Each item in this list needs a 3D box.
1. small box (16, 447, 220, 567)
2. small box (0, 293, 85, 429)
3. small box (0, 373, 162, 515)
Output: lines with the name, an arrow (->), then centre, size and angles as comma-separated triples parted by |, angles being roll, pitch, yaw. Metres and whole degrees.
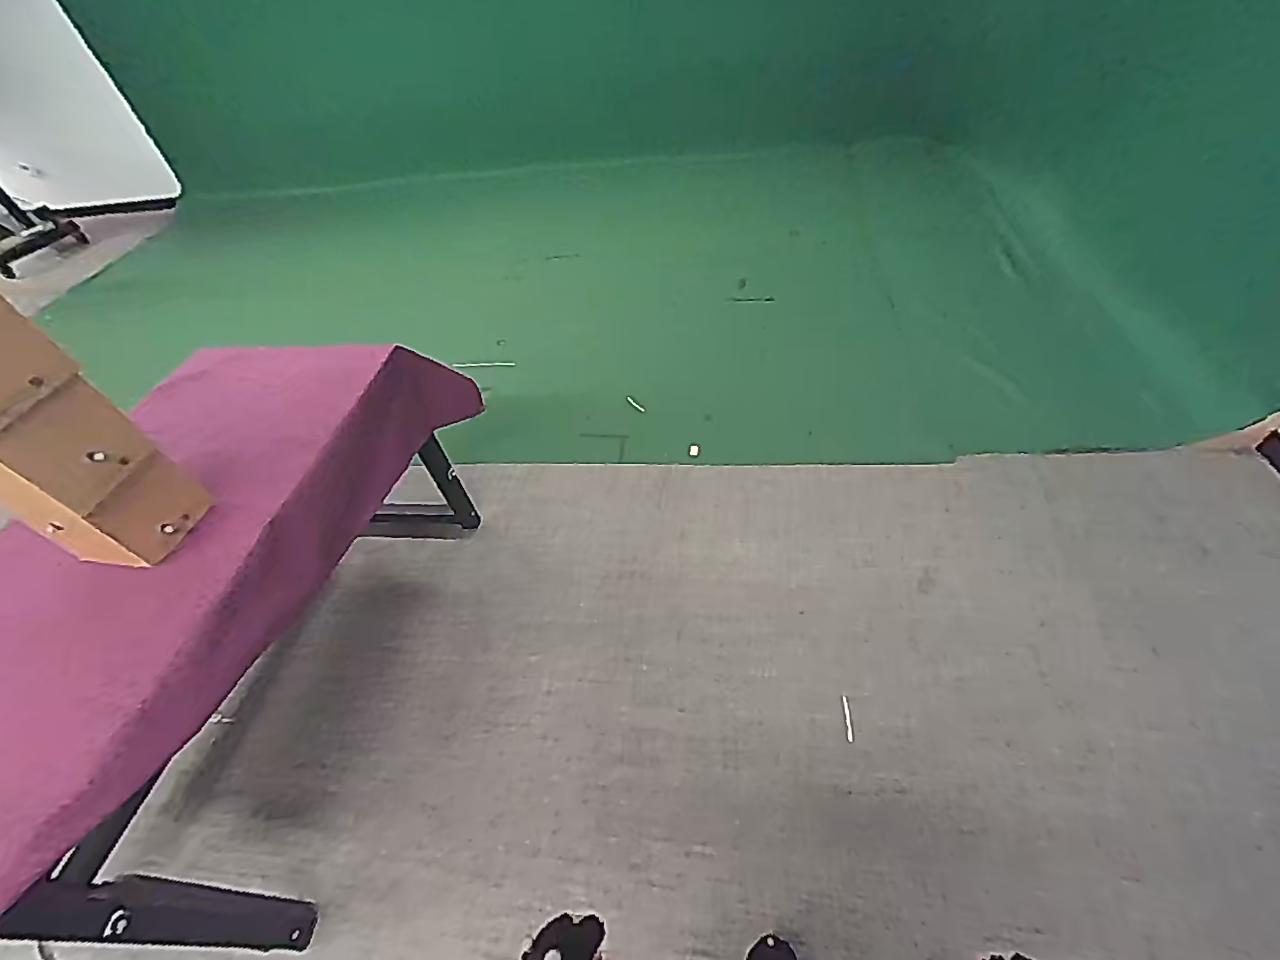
small box -> -0.954, 0.046, 1.005 | 0.179, 0.176, 0.168 | 4, 50, 12
small box -> -0.968, -0.170, 0.758 | 0.179, 0.176, 0.168 | 3, 49, 13
small box -> -0.958, -0.058, 0.878 | 0.179, 0.176, 0.168 | 3, 50, 11
